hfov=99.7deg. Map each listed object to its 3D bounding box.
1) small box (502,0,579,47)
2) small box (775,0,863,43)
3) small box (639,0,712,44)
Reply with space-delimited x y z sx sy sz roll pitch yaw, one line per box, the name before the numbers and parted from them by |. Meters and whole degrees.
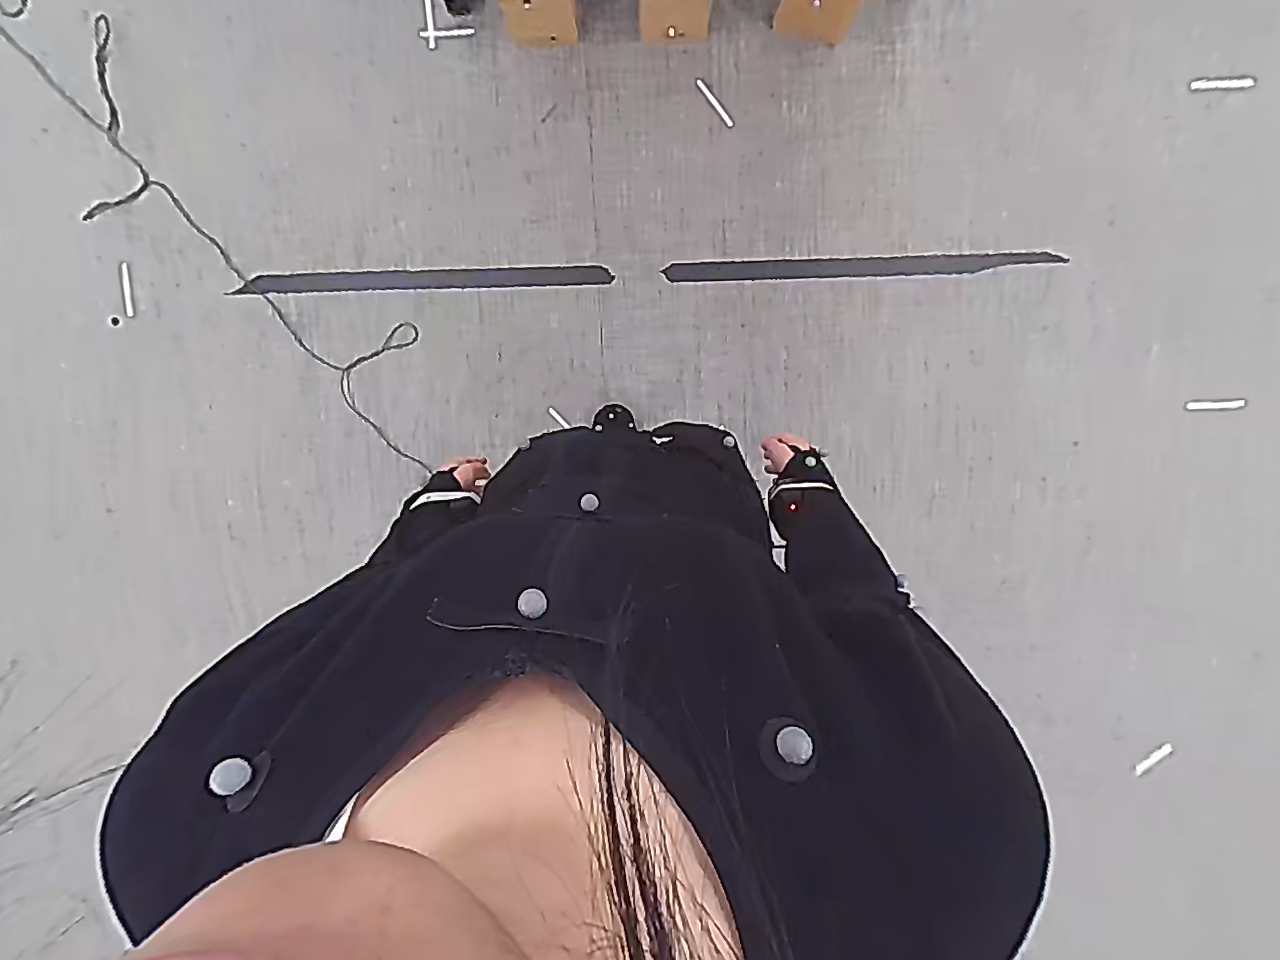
small box | -0.238 -1.173 1.275 0.168 0.176 0.179 0 95 1
small box | 0.436 -1.177 1.266 0.179 0.176 0.168 15 97 1
small box | 0.079 -1.178 1.269 0.168 0.176 0.179 -3 97 1
